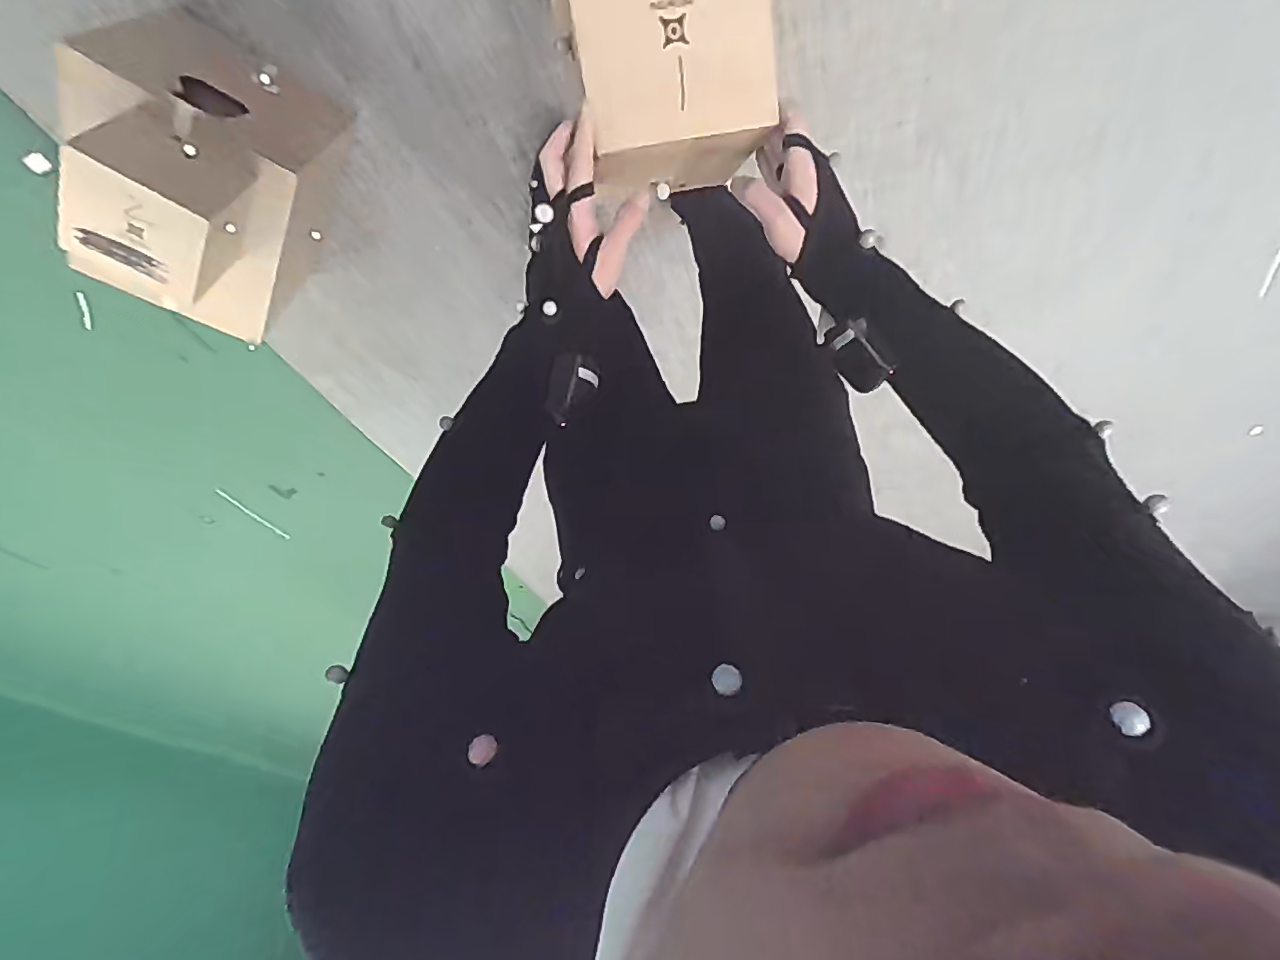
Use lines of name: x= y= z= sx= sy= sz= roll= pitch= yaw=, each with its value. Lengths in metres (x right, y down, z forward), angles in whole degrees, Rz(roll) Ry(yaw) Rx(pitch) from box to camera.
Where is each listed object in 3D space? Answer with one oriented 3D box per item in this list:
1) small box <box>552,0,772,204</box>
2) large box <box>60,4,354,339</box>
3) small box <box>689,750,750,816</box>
small box: x=0.011 y=-0.391 z=0.518 sx=0.168 sy=0.176 sz=0.179 roll=-12 pitch=104 yaw=-3
large box: x=-0.797 y=-0.568 z=1.037 sx=0.320 sy=0.320 sz=0.408 roll=25 pitch=132 yaw=-26
small box: x=0.279 y=1.069 z=1.913 sx=0.168 sy=0.176 sz=0.179 roll=-16 pitch=137 yaw=15
